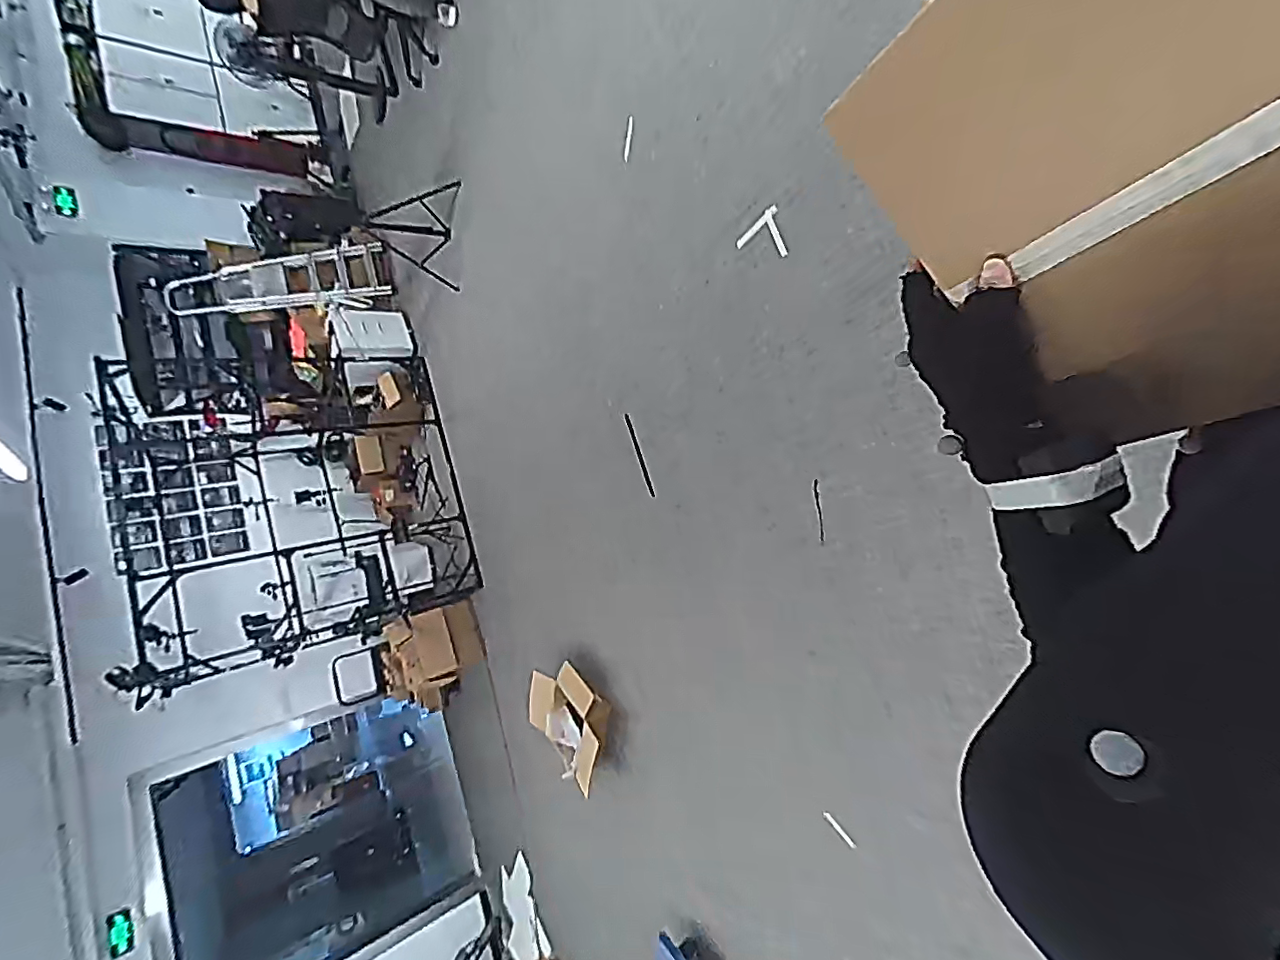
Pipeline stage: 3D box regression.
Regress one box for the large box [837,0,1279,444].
[{"bbox_3d":[0.412,-0.284,0.319,0.320,0.320,0.408,46,147,-11],"label":"large box"}]
